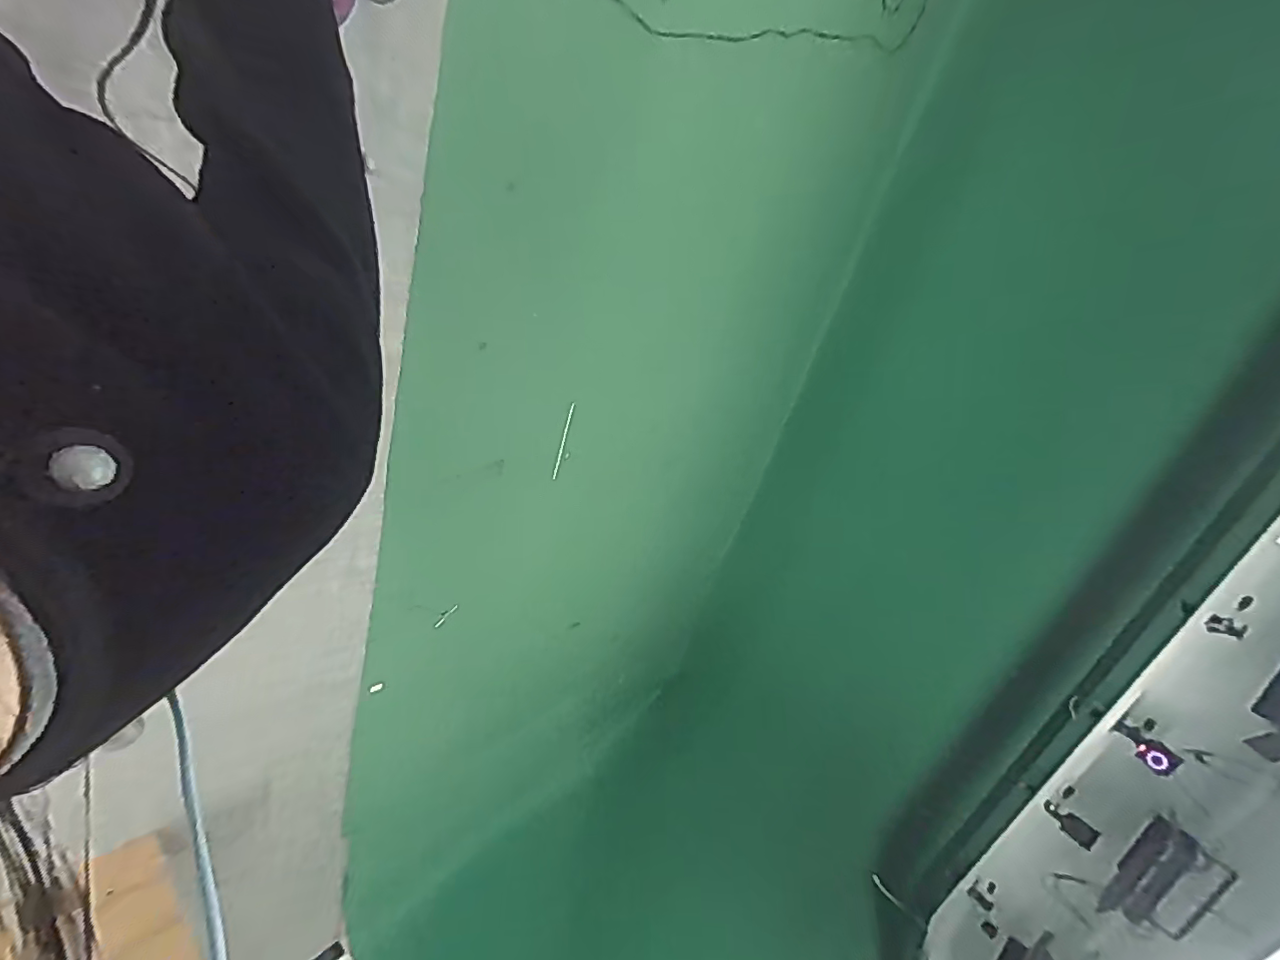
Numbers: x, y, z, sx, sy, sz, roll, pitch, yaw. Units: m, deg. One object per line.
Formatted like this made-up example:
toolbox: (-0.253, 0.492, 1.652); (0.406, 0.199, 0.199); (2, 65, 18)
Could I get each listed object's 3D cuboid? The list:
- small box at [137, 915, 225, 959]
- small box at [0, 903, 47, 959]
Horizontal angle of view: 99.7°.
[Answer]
small box: (-1.295, 1.396, 1.517); (0.179, 0.176, 0.168); (-15, 129, -51)
small box: (-1.732, 1.302, 1.449); (0.168, 0.176, 0.179); (0, 116, -56)
